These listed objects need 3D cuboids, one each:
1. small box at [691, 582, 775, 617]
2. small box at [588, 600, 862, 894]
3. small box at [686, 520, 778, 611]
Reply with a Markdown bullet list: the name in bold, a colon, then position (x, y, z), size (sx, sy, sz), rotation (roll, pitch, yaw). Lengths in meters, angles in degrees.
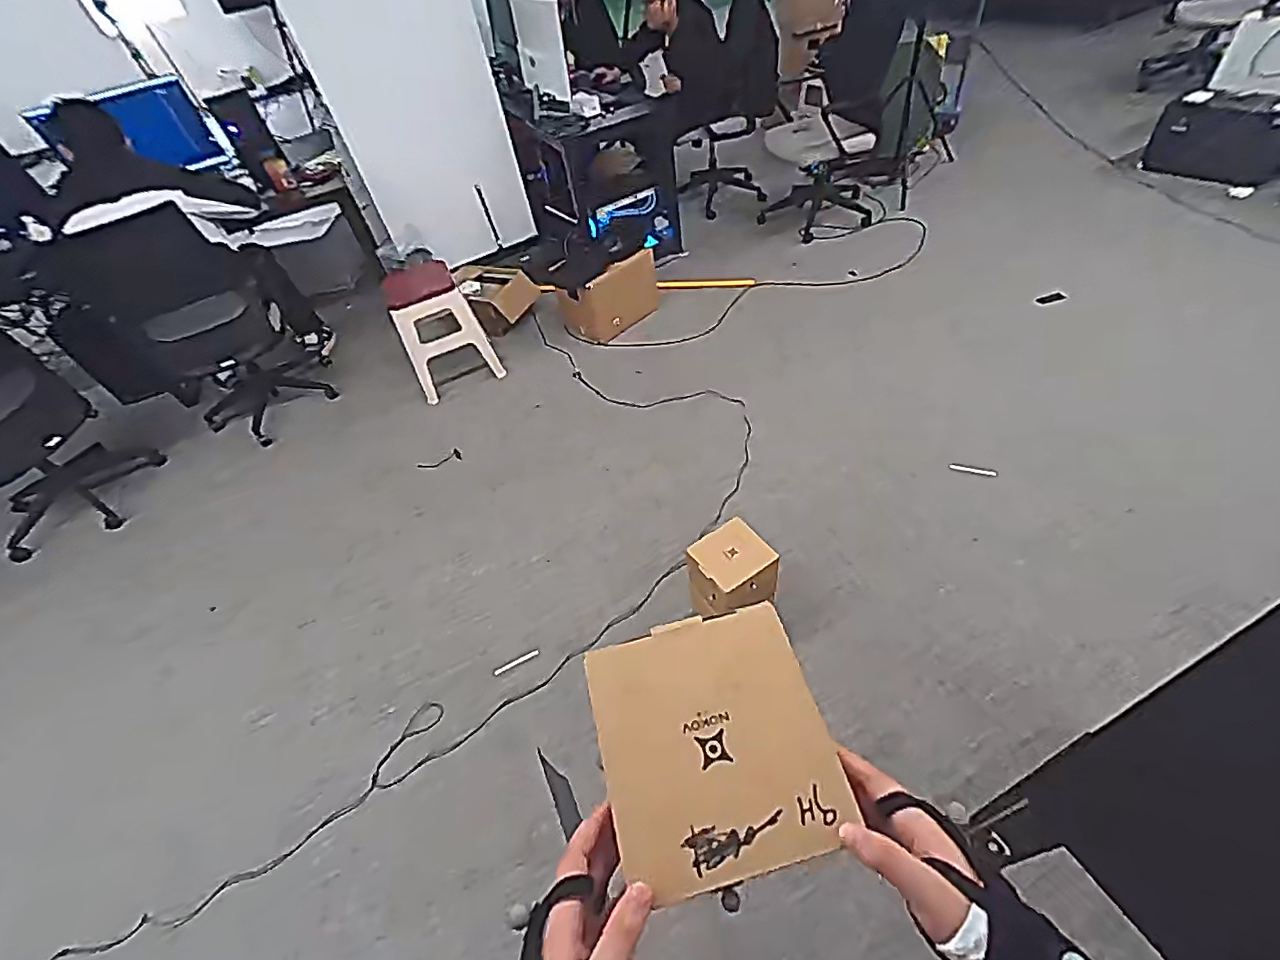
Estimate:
- **small box**: position (0.264, 0.356, 1.546), size (0.179, 0.176, 0.168), rotation (-29, 49, -13)
- **small box**: position (0.060, 0.234, 0.471), size (0.168, 0.176, 0.179), rotation (-15, 54, -3)
- **small box**: position (0.244, 0.246, 1.428), size (0.179, 0.176, 0.168), rotation (-30, 51, -17)
